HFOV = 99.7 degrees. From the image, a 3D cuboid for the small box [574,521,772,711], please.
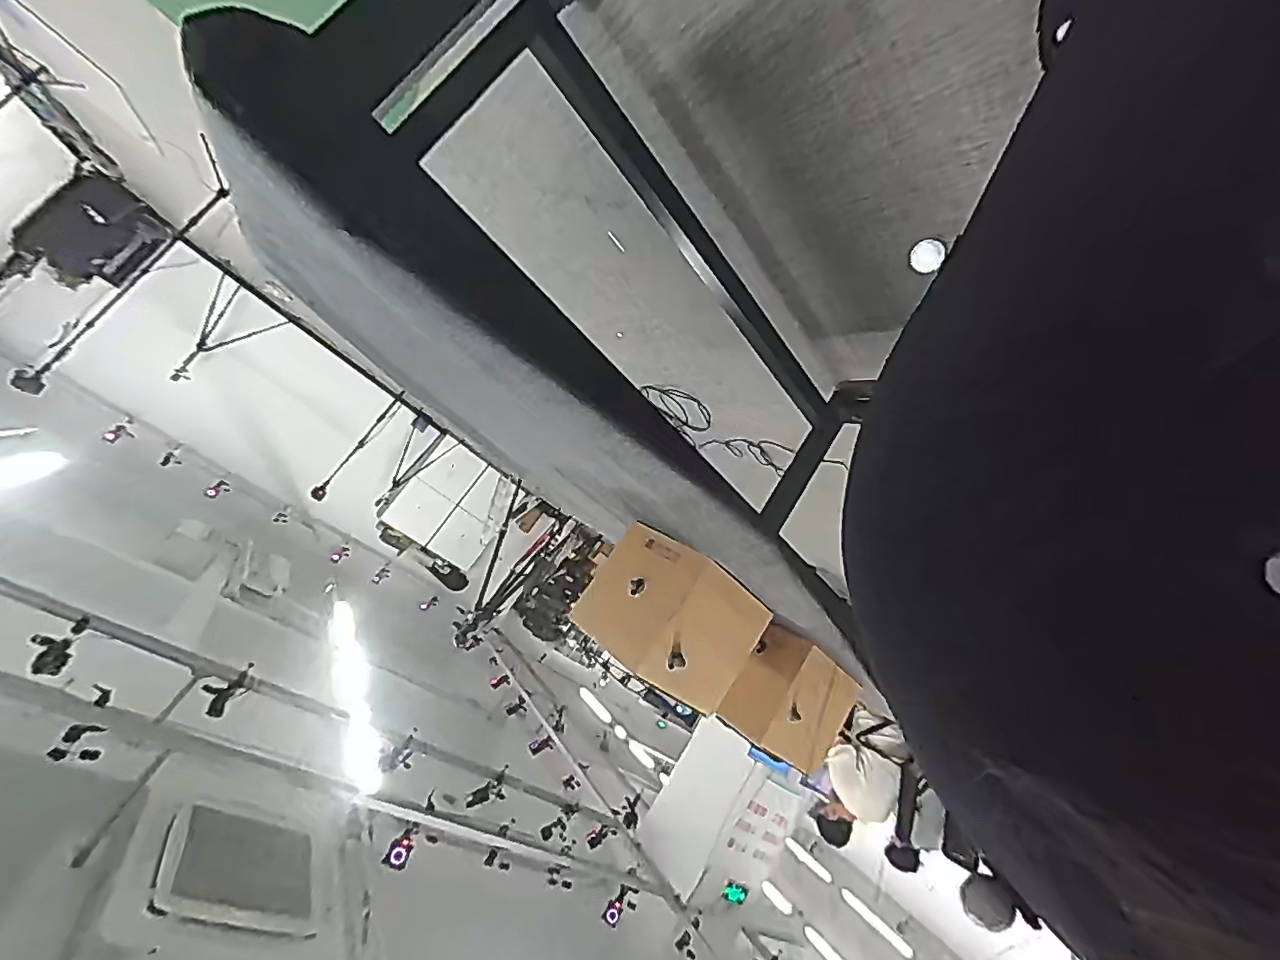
[{"bbox_3d":[0.049,0.180,0.750,0.179,0.176,0.168,42,168,-36],"label":"small box"}]
